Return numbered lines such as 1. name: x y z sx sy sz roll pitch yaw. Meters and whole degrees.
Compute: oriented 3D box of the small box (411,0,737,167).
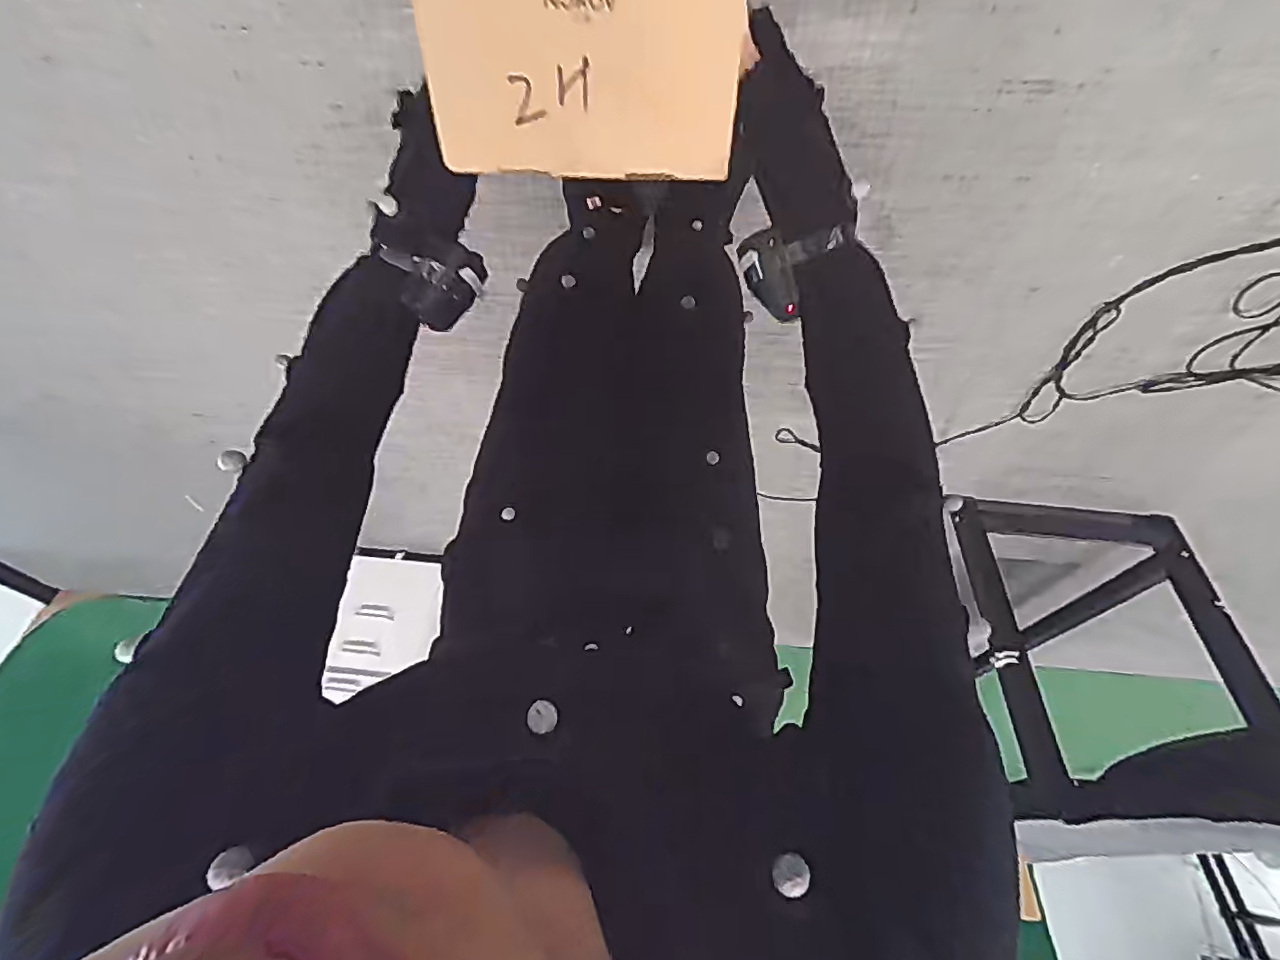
1. small box: -0.031 -0.304 0.321 0.168 0.176 0.179 2 132 1
